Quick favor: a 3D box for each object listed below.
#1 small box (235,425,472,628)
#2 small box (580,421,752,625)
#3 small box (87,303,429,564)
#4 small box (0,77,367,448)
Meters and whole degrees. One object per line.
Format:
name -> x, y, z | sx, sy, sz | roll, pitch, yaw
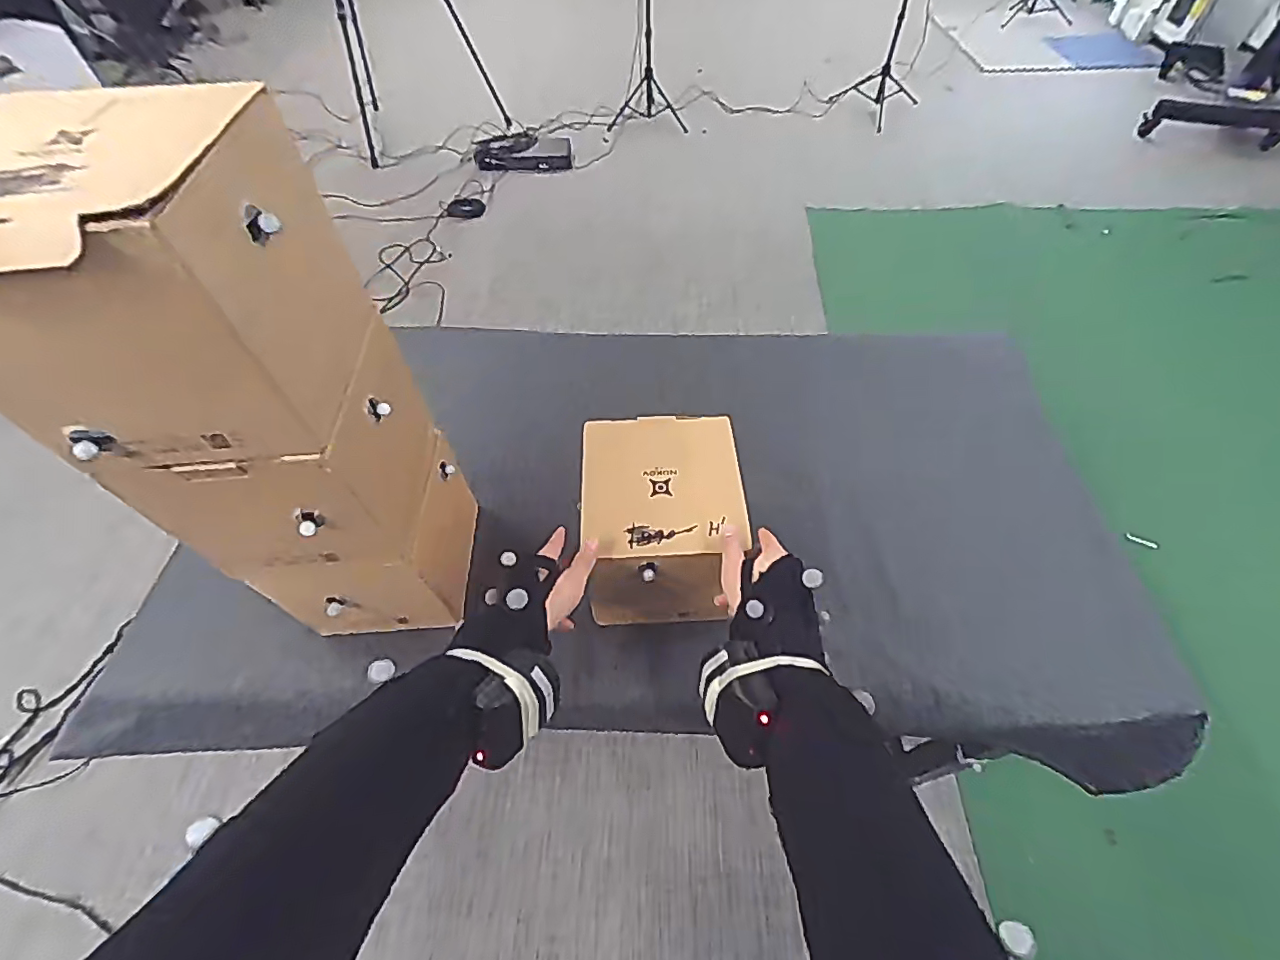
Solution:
small box -> -0.302, 0.060, 0.619 | 0.168, 0.176, 0.179 | -3, 53, -2
small box -> 0.022, 0.052, 0.622 | 0.168, 0.176, 0.179 | -2, 54, -1
small box -> -0.305, -0.034, 0.487 | 0.168, 0.176, 0.179 | -3, 52, -3
small box -> -0.306, -0.133, 0.356 | 0.168, 0.176, 0.179 | -4, 53, -4
